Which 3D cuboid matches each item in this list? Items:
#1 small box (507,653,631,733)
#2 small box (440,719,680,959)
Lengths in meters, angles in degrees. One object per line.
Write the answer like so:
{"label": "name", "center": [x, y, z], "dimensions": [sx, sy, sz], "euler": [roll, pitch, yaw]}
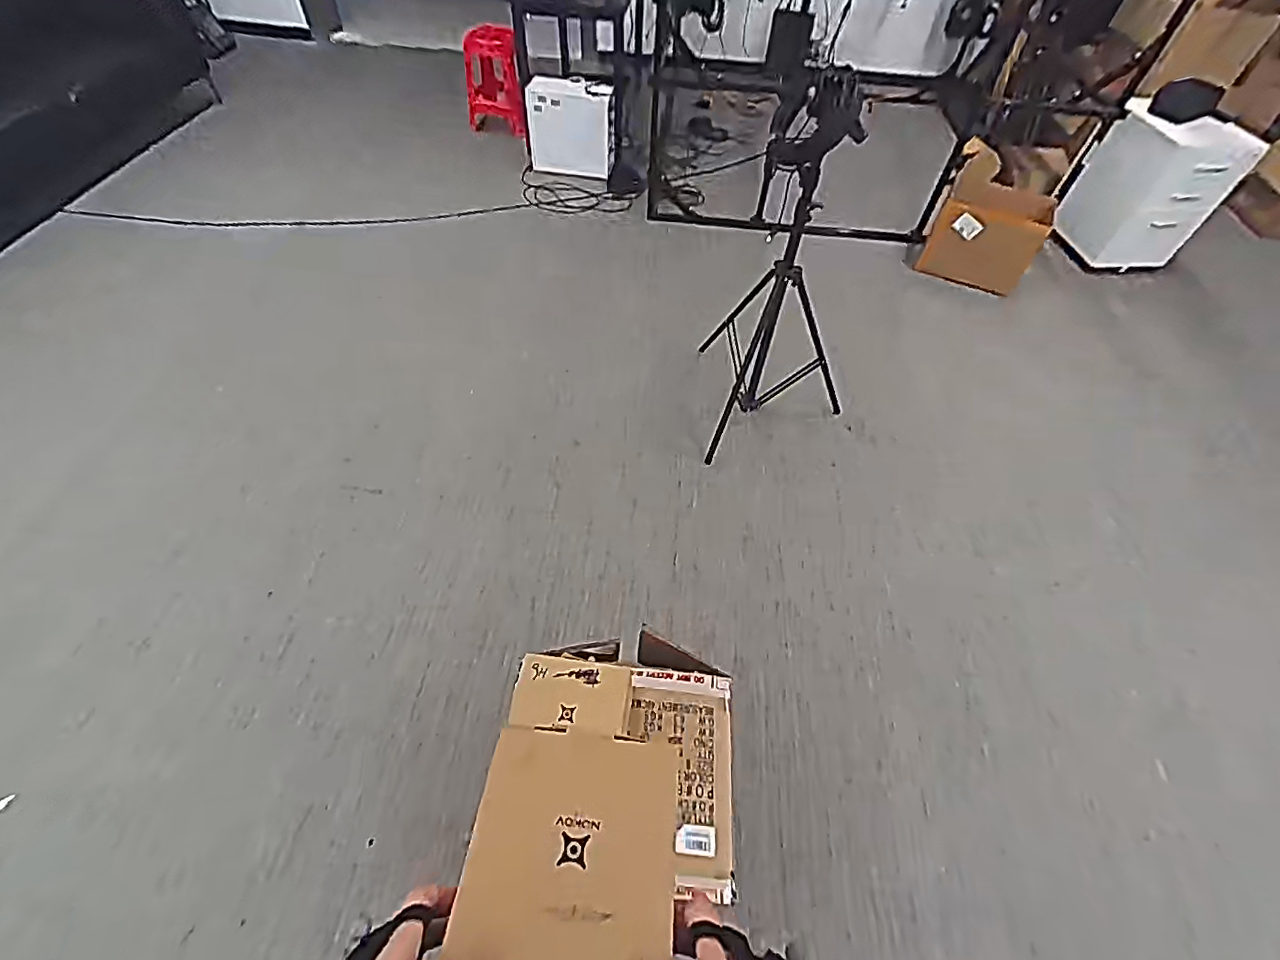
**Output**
{"label": "small box", "center": [-0.107, 0.388, 0.833], "dimensions": [0.168, 0.176, 0.179], "euler": [7, 55, 5]}
{"label": "small box", "center": [-0.059, 0.344, 0.485], "dimensions": [0.168, 0.176, 0.179], "euler": [7, 44, 0]}
